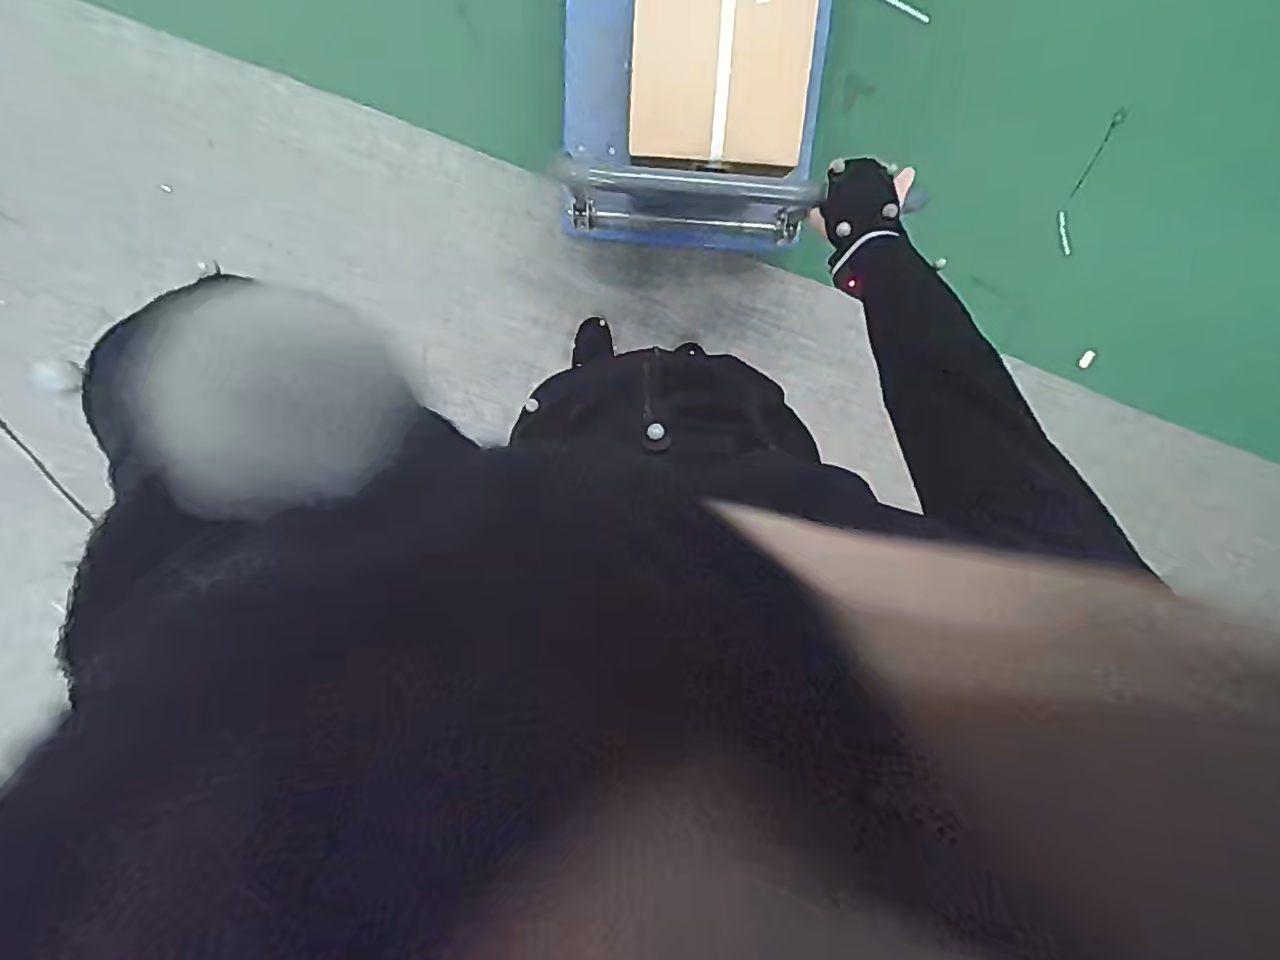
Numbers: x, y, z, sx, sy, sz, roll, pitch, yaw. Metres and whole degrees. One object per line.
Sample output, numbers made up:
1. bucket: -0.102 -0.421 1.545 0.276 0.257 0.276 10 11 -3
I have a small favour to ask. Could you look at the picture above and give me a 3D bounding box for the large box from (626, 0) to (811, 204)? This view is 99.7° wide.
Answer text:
1. large box: 0.134 -0.806 1.083 0.320 0.320 0.408 2 106 -3
